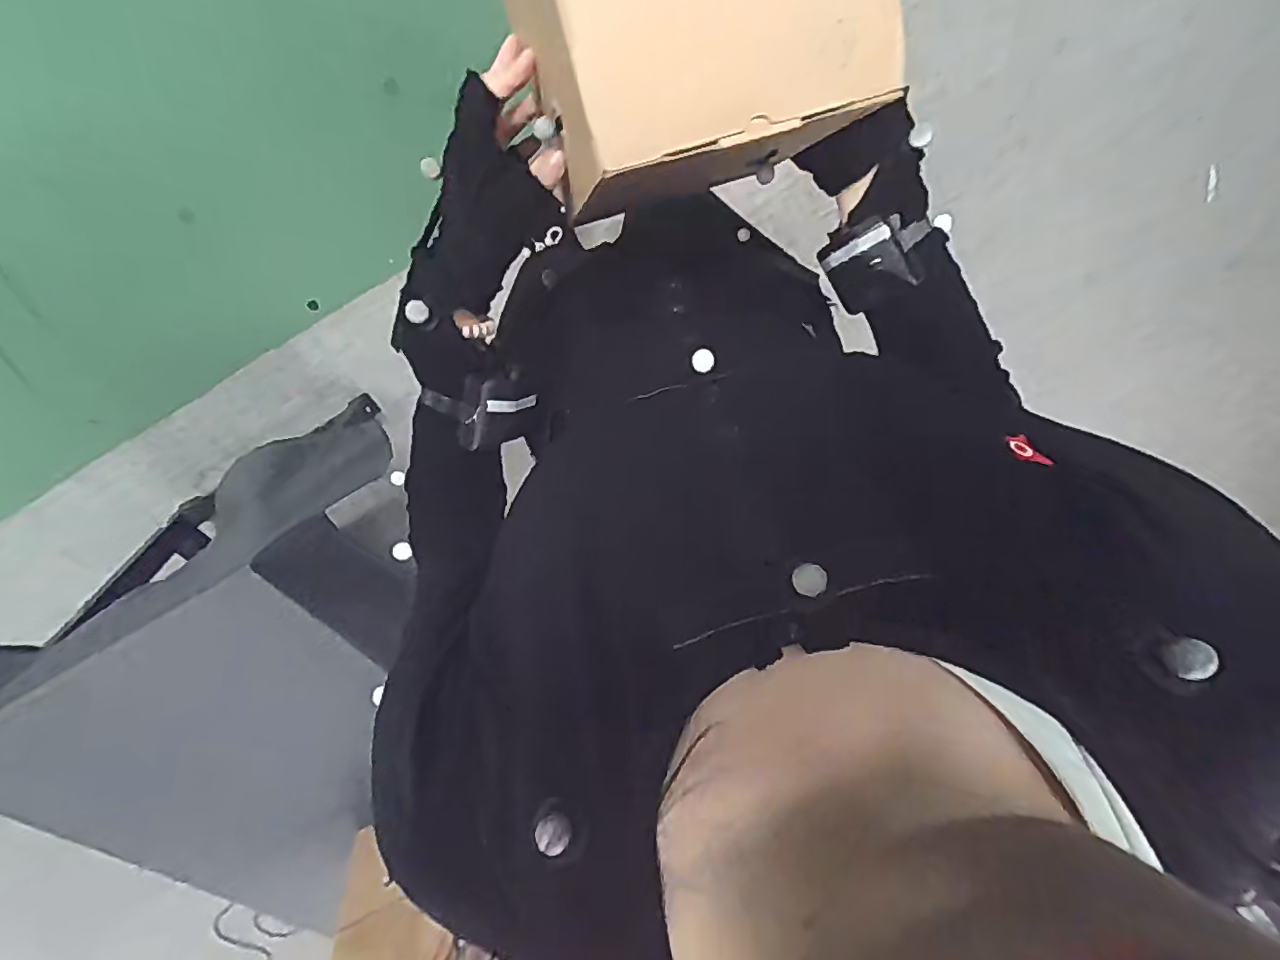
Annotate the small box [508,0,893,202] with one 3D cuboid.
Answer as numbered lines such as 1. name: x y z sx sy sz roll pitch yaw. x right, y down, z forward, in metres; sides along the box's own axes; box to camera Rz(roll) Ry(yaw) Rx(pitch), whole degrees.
1. small box: 0.017 -0.278 0.316 0.168 0.176 0.179 -19 111 -7
